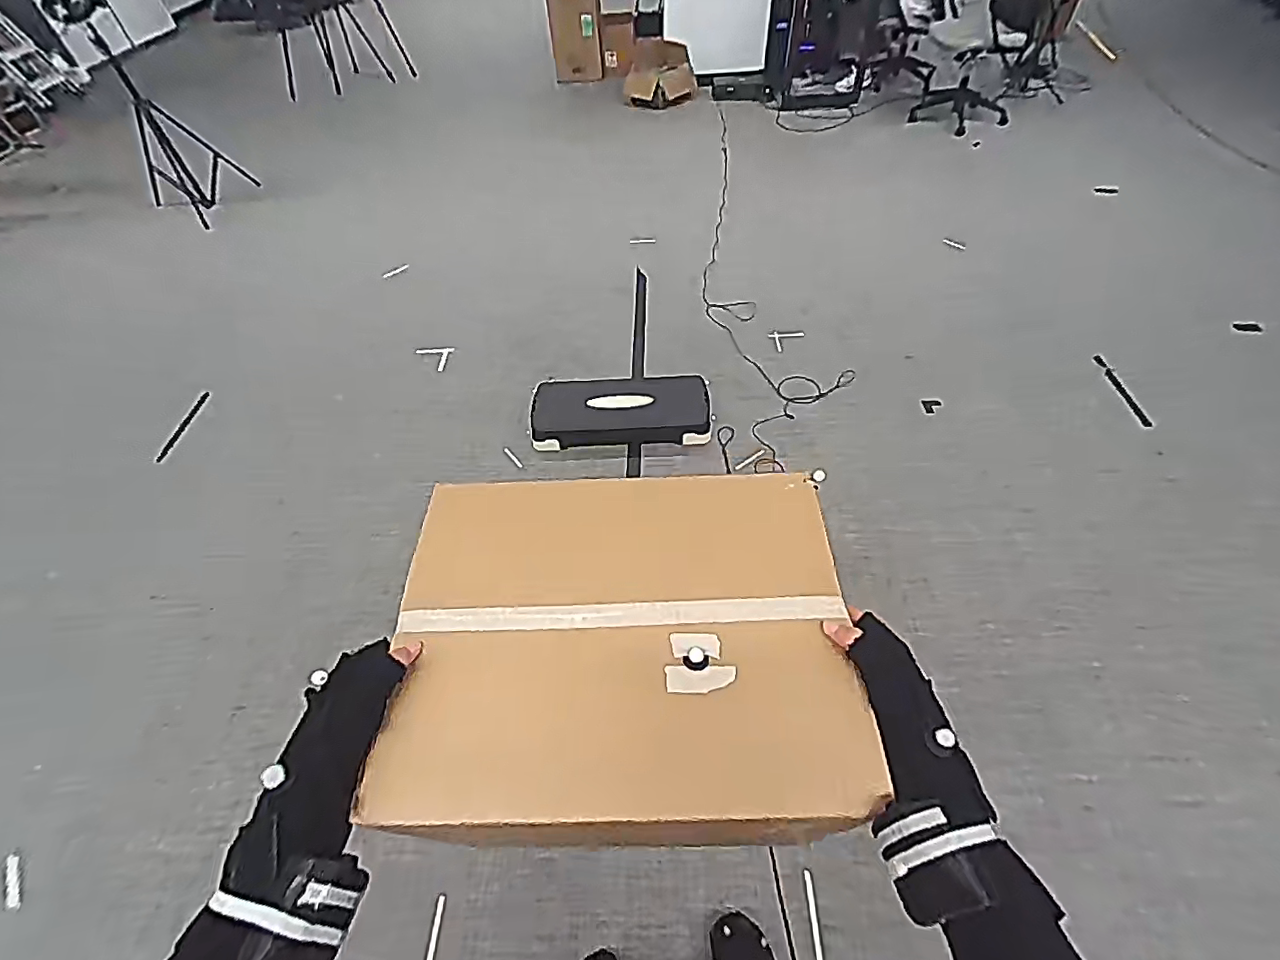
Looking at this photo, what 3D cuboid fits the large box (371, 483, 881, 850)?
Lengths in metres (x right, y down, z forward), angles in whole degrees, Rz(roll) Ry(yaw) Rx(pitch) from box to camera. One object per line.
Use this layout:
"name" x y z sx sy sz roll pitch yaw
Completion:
"large box" -0.010 0.222 0.621 0.408 0.320 0.320 -2 53 2
